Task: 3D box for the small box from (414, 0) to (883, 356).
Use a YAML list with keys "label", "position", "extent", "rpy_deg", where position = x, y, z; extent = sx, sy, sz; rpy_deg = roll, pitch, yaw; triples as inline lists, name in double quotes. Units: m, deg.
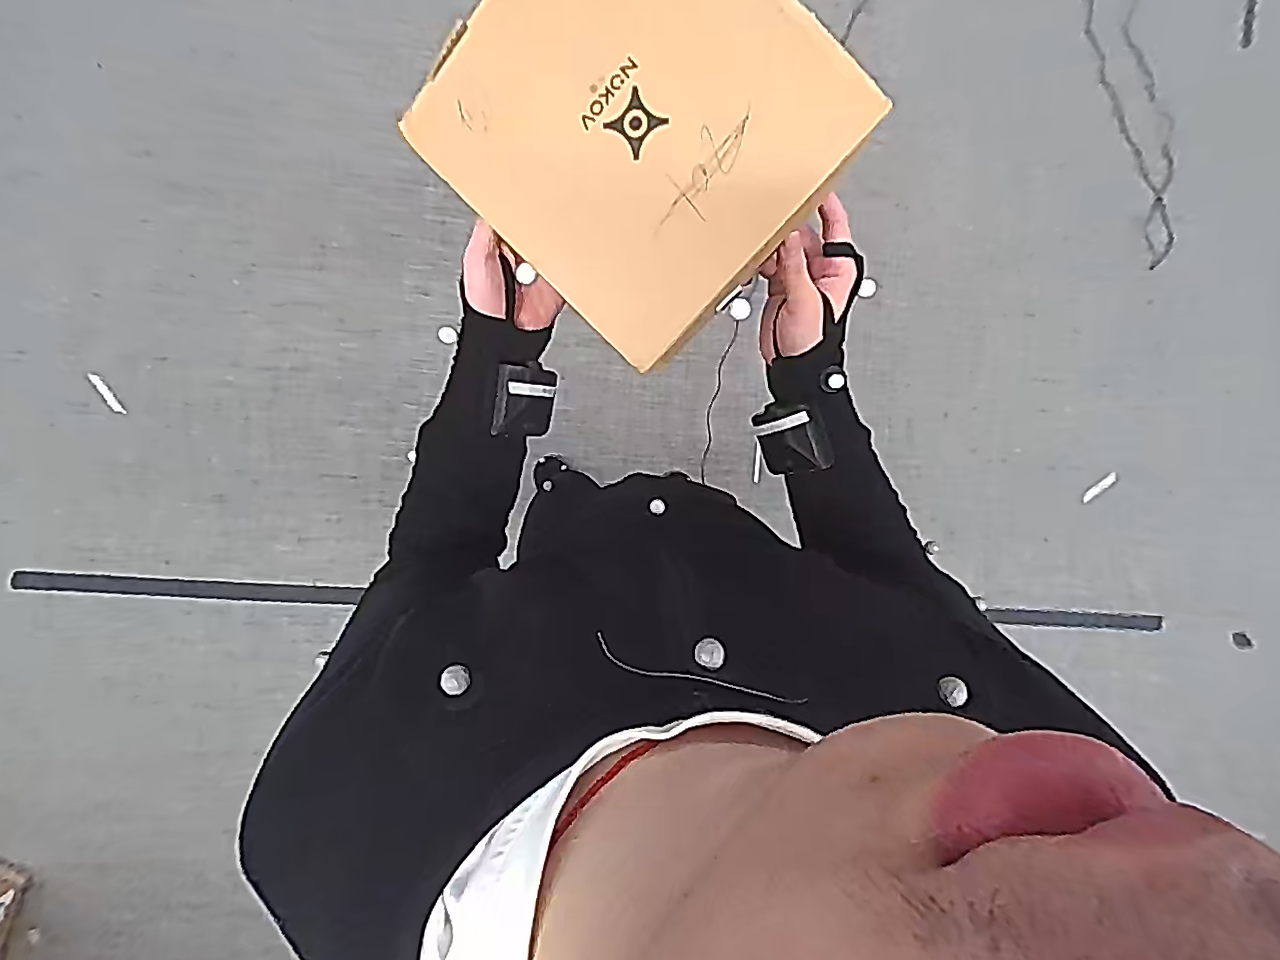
- label: "small box"
  position: [0.007, -0.195, 0.342]
  extent: [0.179, 0.176, 0.168]
  rpy_deg: [43, 105, -5]
